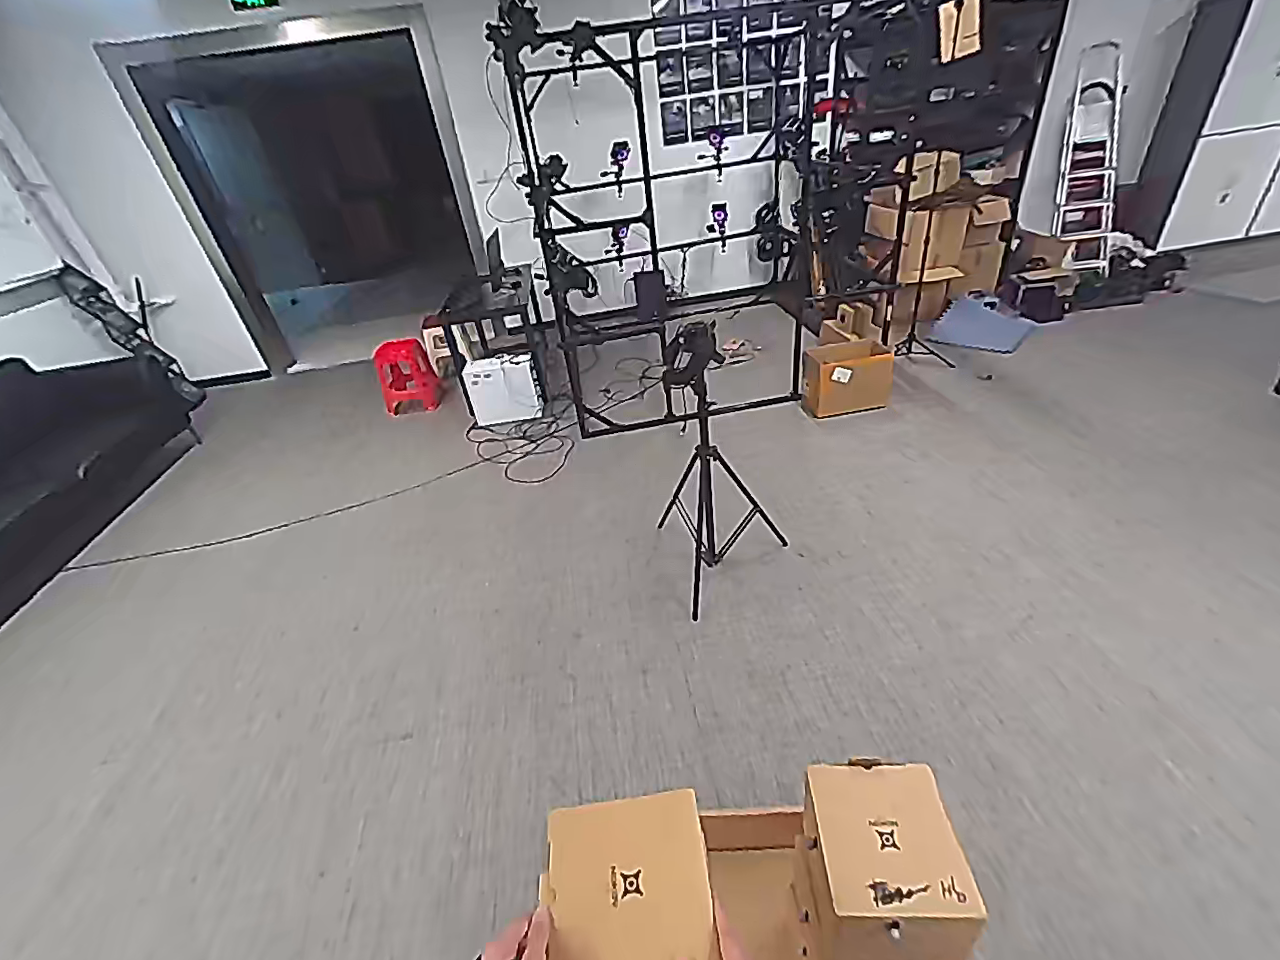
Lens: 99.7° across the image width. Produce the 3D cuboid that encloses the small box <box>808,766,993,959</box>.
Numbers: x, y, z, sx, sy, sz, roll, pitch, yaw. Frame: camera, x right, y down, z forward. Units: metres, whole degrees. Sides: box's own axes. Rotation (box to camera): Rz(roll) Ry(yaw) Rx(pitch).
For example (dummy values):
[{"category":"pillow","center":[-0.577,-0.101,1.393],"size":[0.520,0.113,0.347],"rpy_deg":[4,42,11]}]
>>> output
[{"category":"small box","center":[0.317,0.502,0.702],"size":[0.168,0.176,0.179],"rpy_deg":[-5,32,8]}]

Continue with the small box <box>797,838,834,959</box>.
[{"category":"small box","center":[0.337,0.641,0.787],"size":[0.179,0.176,0.168],"rpy_deg":[-8,33,3]}]

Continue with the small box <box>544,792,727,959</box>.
[{"category":"small box","center":[-0.001,0.482,0.613],"size":[0.179,0.176,0.168],"rpy_deg":[-12,42,2]}]
